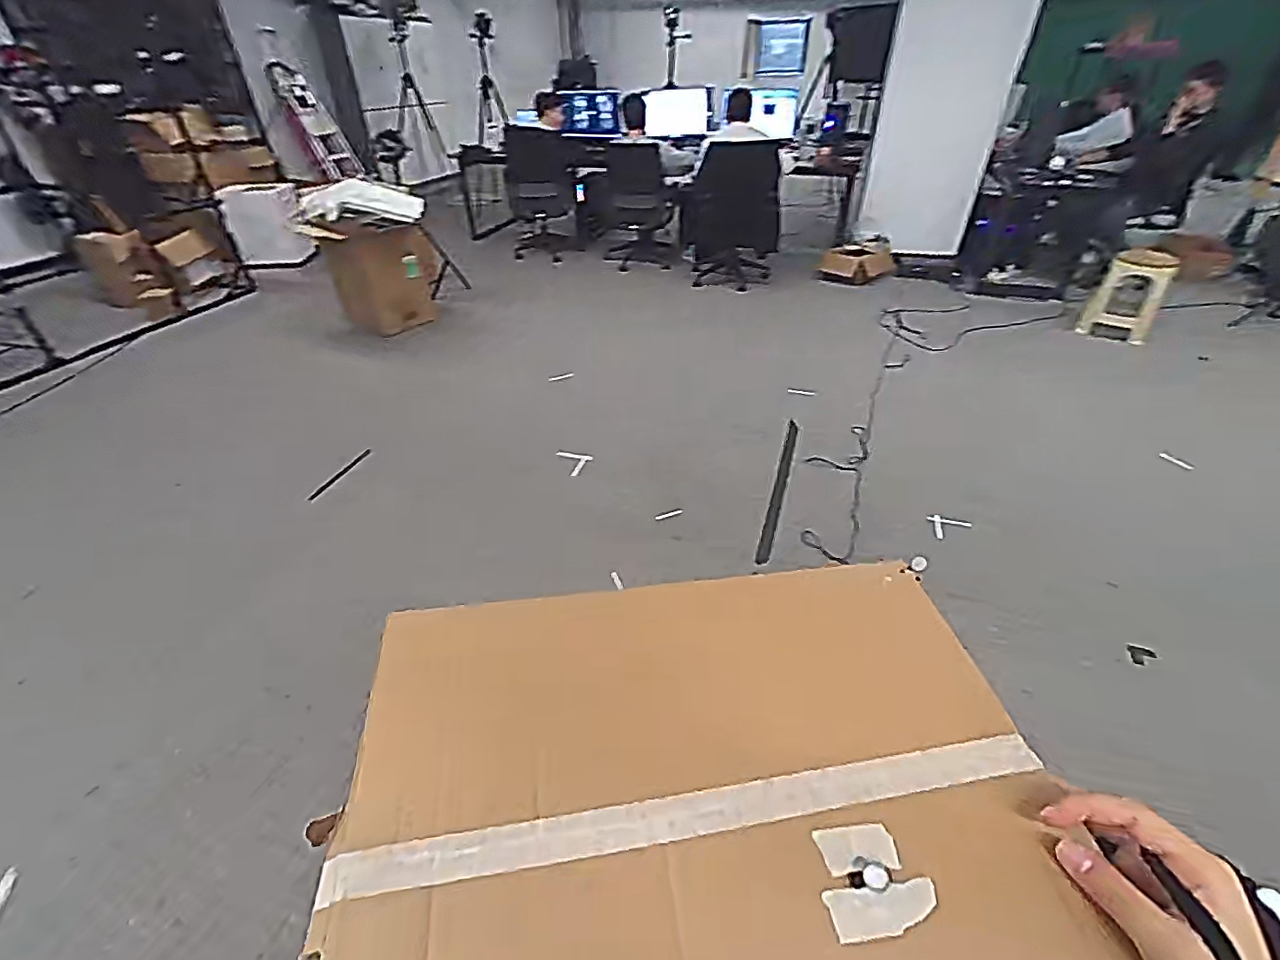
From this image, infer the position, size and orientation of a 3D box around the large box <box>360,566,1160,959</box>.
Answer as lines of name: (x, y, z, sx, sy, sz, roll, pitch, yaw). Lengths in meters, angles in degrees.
large box: (0.042, 0.297, 0.417, 0.408, 0.320, 0.320, -3, 44, -10)
